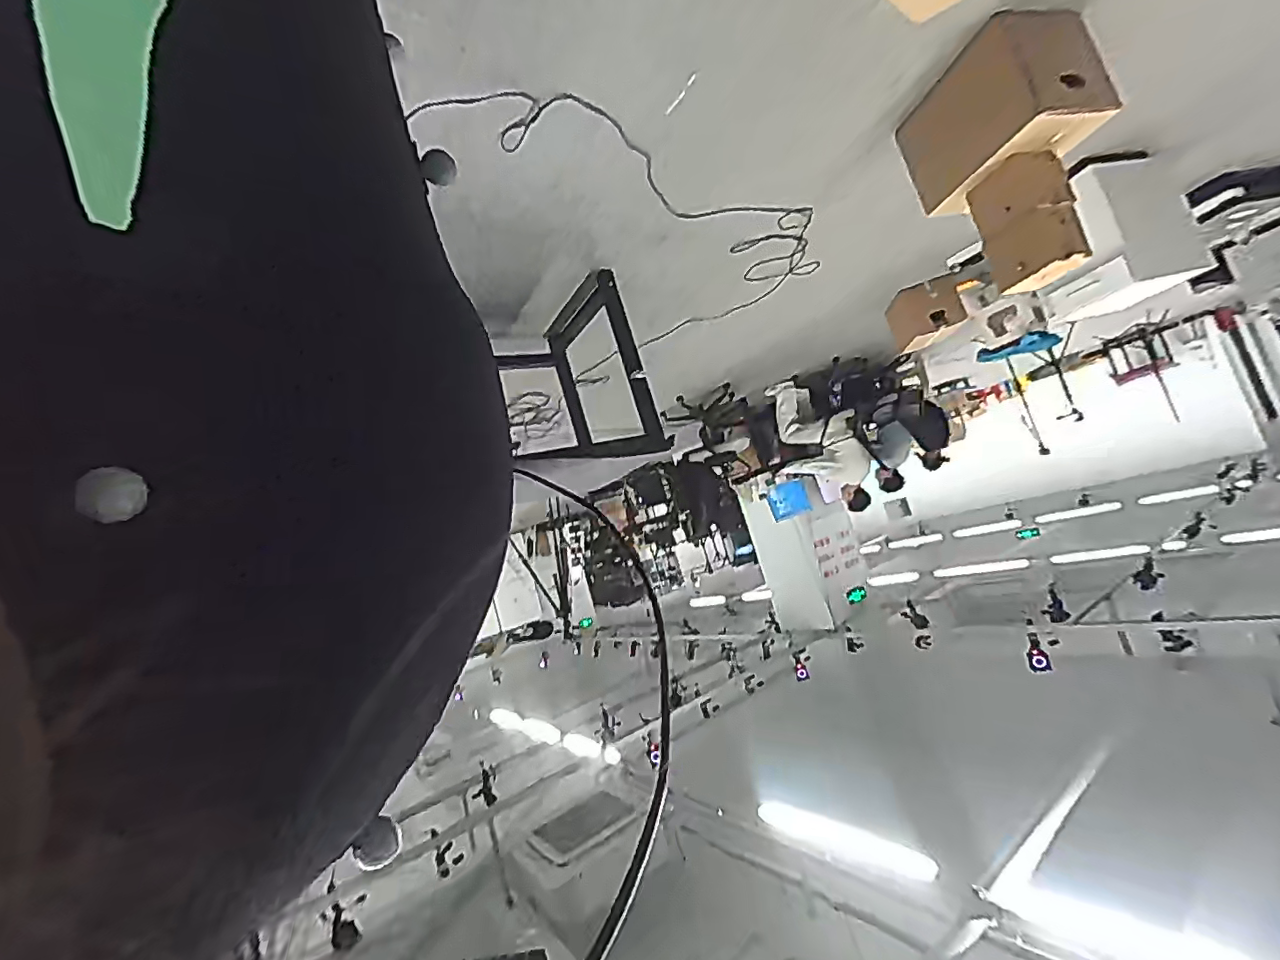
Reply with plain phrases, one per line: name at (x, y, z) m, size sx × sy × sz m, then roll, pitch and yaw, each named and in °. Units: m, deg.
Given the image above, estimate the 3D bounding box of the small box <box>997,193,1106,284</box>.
small box at (1.172, -0.692, 1.556) m, size 0.168 × 0.176 × 0.179 m, roll -13°, pitch 172°, yaw -16°

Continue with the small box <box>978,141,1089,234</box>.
small box at (1.130, -0.850, 1.565) m, size 0.168 × 0.176 × 0.179 m, roll -14°, pitch 173°, yaw -16°
